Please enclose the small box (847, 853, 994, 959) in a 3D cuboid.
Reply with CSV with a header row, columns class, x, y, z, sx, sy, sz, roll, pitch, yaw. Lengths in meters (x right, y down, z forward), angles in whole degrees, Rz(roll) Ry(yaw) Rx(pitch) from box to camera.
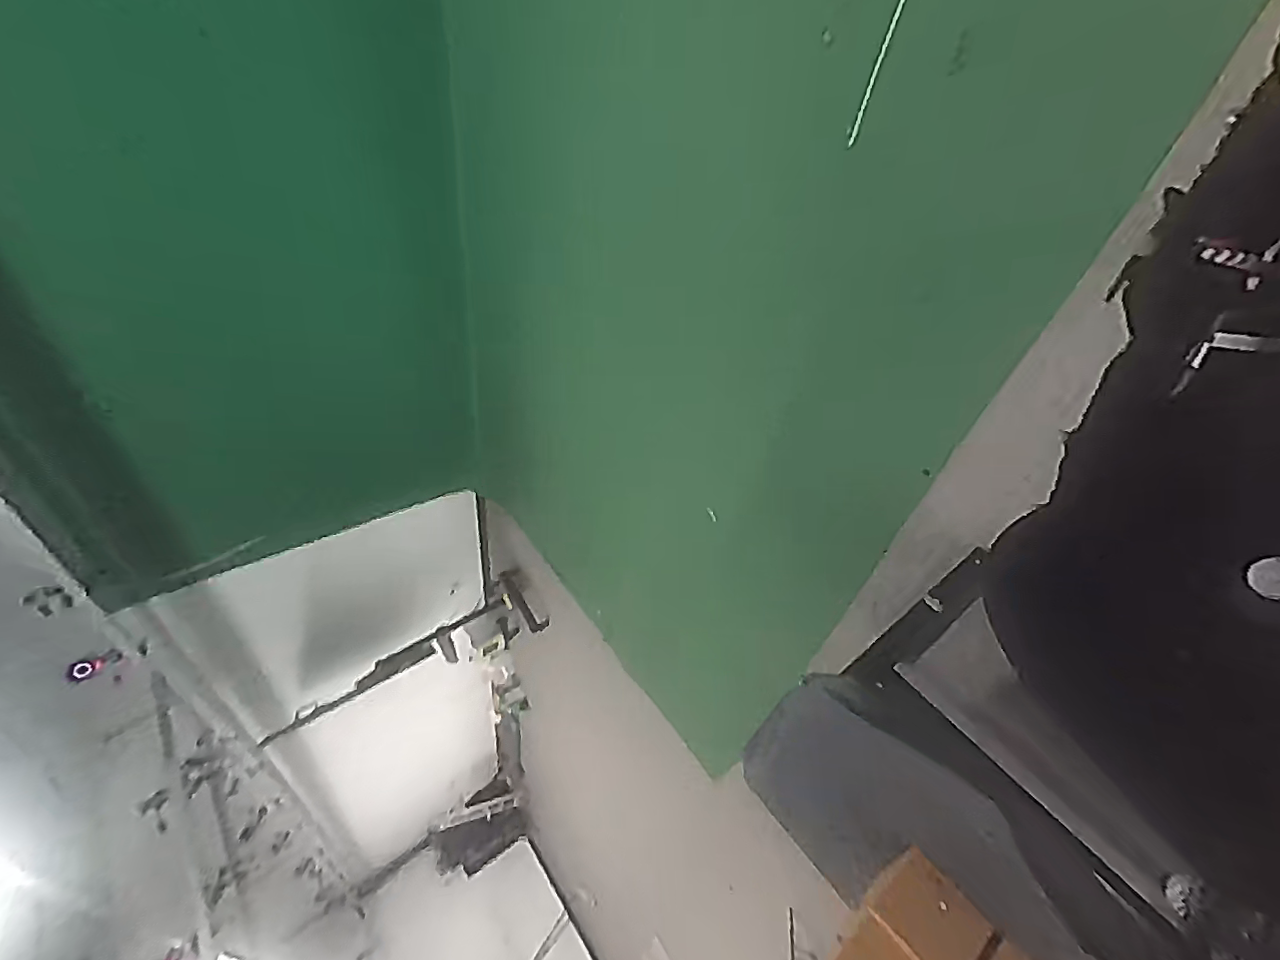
class,x,y,z,sx,sy,sz,roll,pitch,yaw
small box,0.544,0.879,1.051,0.168,0.176,0.179,41,139,32
